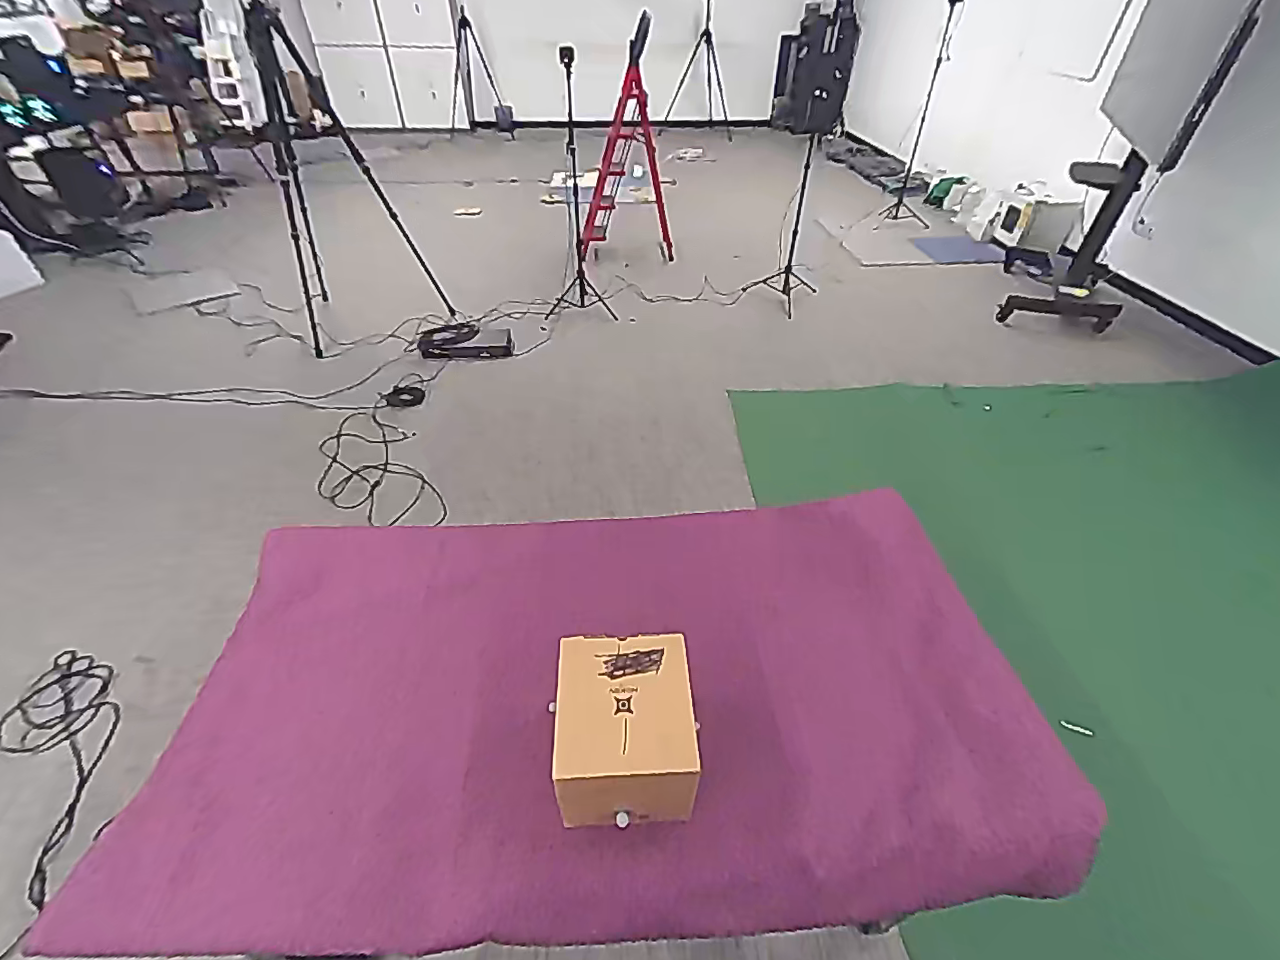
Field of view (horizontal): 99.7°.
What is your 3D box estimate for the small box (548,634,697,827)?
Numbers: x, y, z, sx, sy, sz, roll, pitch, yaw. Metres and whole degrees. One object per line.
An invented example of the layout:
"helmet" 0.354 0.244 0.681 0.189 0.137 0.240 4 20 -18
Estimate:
"small box" -0.023 0.320 0.697 0.168 0.176 0.179 -2 42 -2
